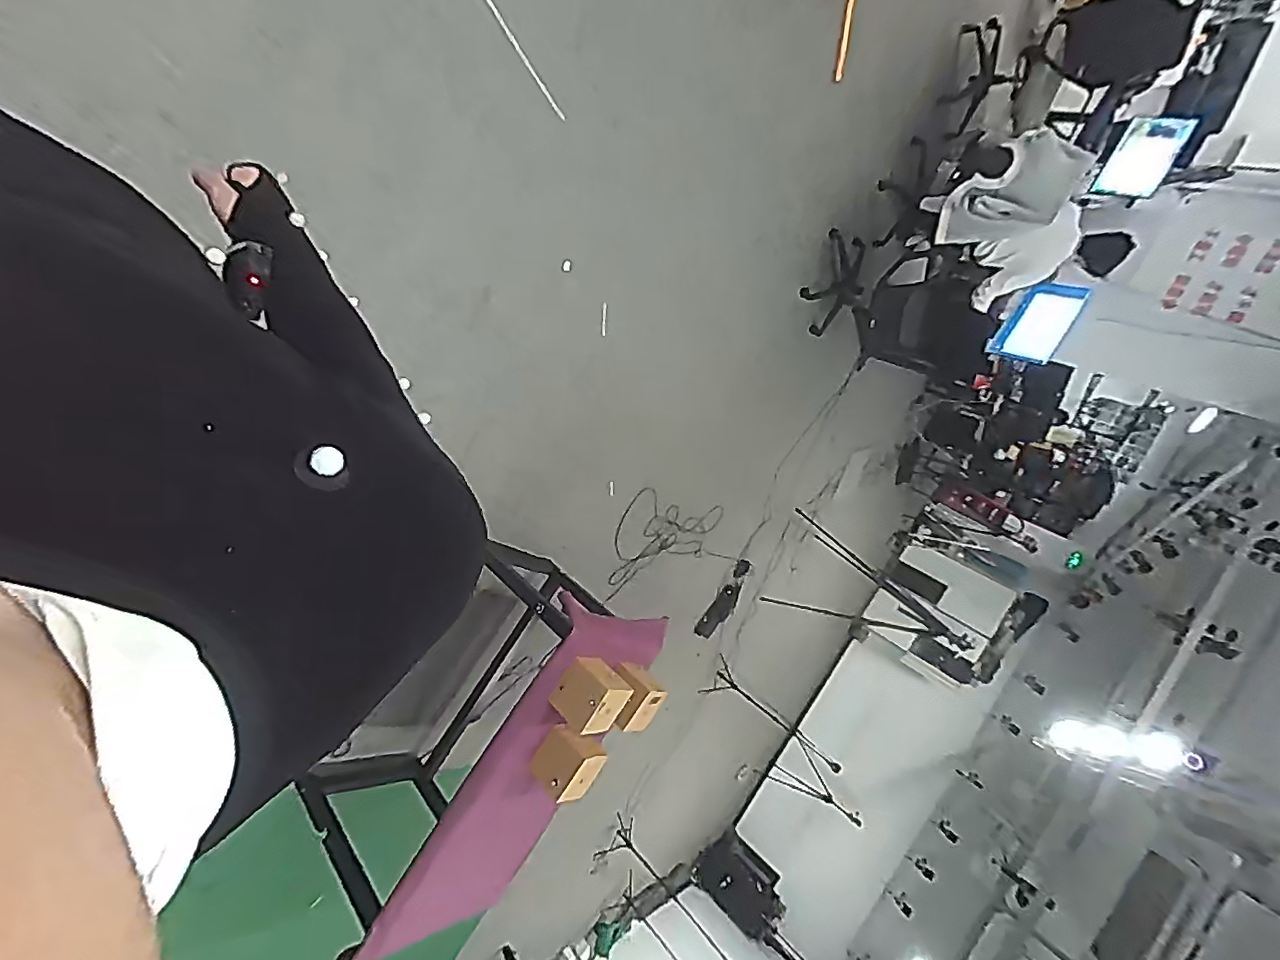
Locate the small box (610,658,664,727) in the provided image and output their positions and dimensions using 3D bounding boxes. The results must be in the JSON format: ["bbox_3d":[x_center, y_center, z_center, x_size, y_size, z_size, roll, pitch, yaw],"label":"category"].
[{"bbox_3d":[-0.046,0.792,2.025,0.179,0.176,0.168,-55,146,-3],"label":"small box"}]

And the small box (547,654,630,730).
[{"bbox_3d":[-0.171,0.692,1.782,0.168,0.176,0.179,-57,148,-2],"label":"small box"}]

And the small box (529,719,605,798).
[{"bbox_3d":[-0.262,0.963,1.885,0.179,0.176,0.168,-56,147,-3],"label":"small box"}]
